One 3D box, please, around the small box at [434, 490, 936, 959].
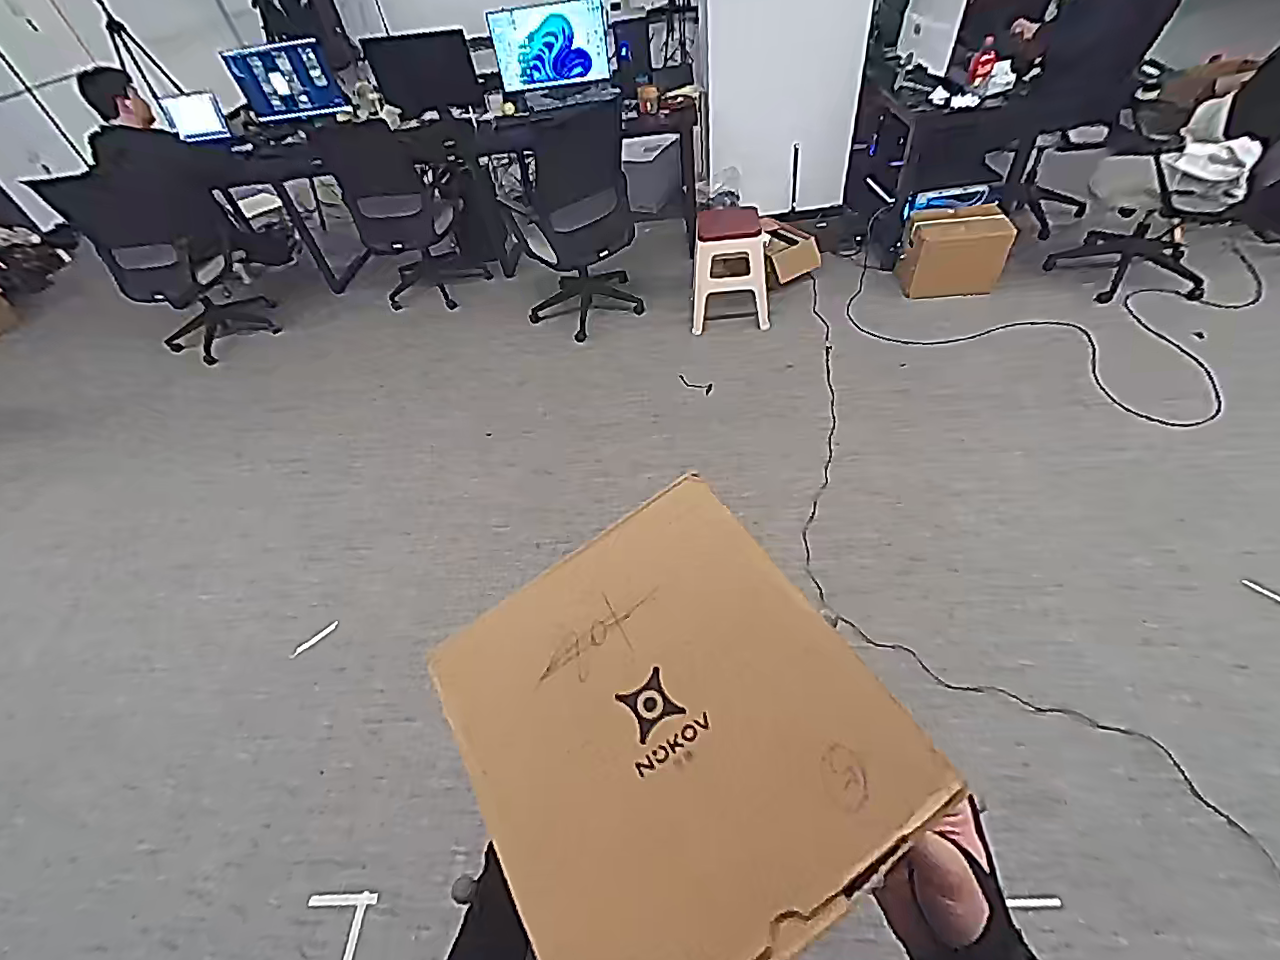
[{"bbox_3d":[0.022,0.145,0.310,0.168,0.176,0.179,-35,58,-7],"label":"small box"}]
